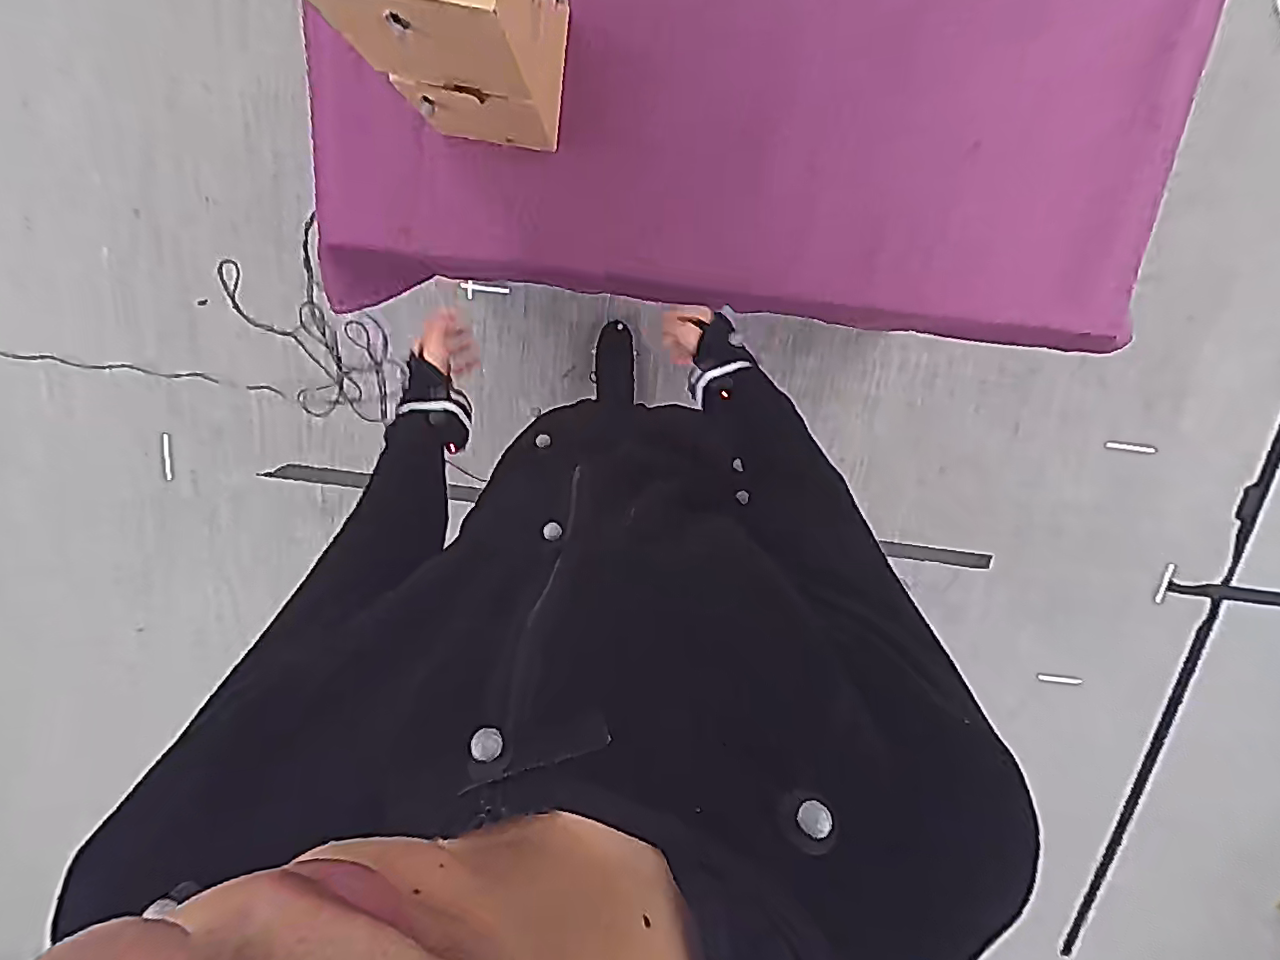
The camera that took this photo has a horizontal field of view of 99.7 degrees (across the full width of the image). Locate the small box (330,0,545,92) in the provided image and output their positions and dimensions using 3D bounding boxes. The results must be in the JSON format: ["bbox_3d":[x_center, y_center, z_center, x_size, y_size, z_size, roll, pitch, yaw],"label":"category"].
[{"bbox_3d":[-0.189,-0.496,0.500,0.179,0.176,0.168,9,104,-3],"label":"small box"}]
